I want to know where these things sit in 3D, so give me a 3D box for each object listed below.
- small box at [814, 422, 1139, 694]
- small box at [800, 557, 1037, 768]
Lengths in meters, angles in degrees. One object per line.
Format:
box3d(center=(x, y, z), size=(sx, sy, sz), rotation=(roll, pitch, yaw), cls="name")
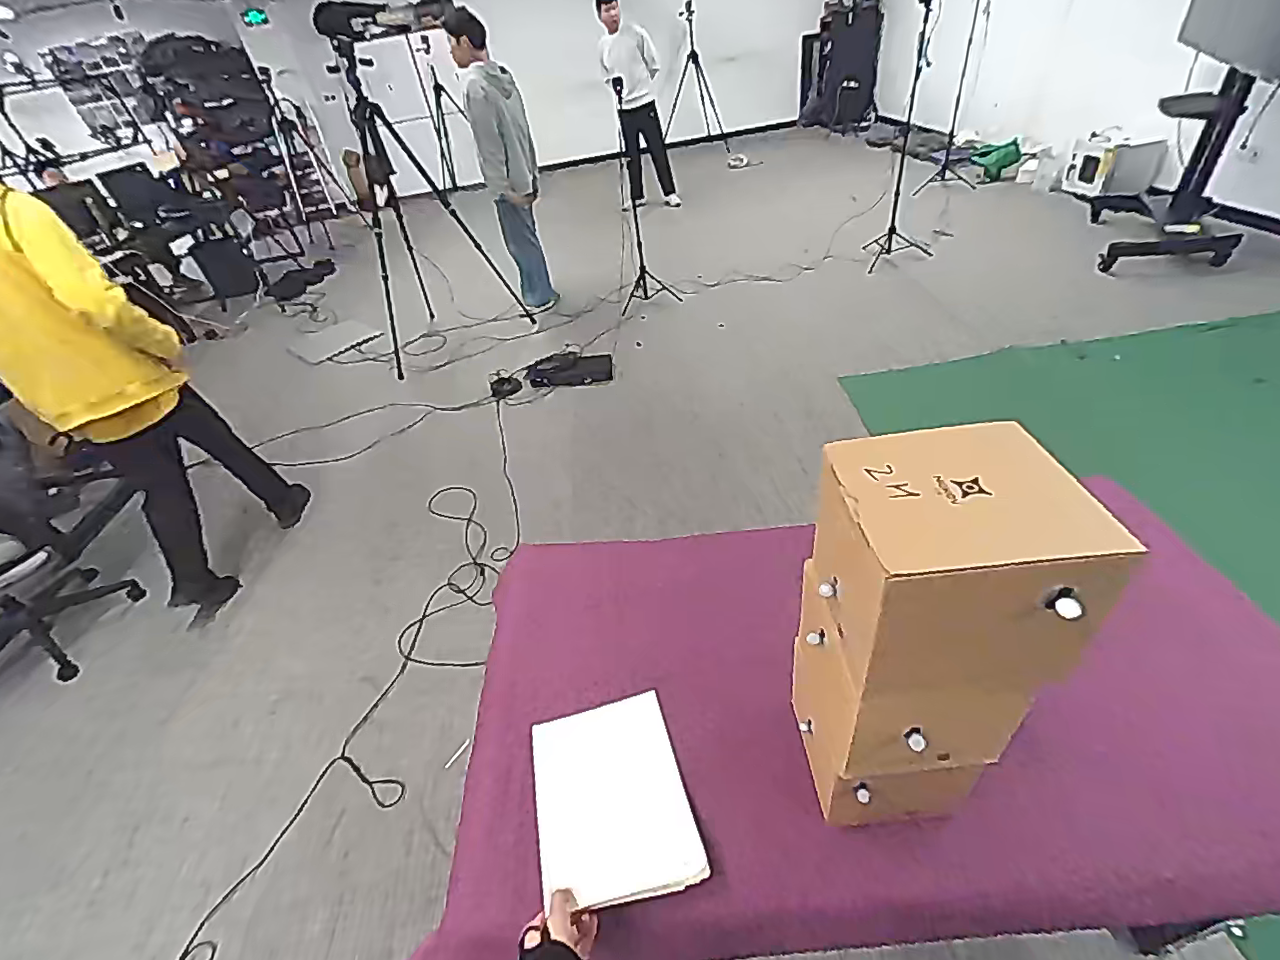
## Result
box3d(center=(0.266, 0.070, 0.484), size=(0.179, 0.176, 0.168), rotation=(-7, 38, 5), cls="small box")
box3d(center=(0.280, 0.194, 0.592), size=(0.168, 0.176, 0.179), rotation=(-8, 38, 3), cls="small box")
